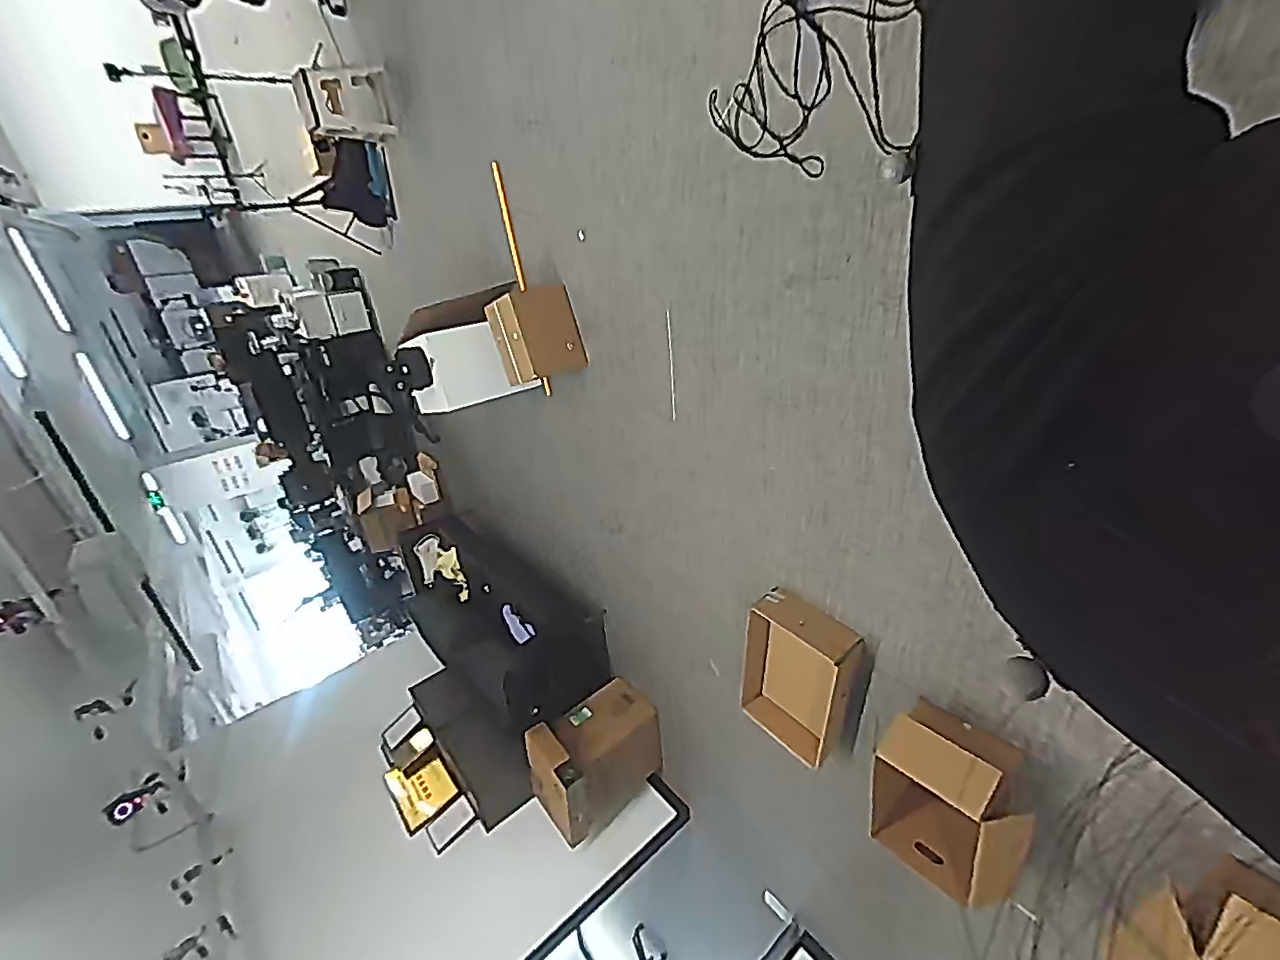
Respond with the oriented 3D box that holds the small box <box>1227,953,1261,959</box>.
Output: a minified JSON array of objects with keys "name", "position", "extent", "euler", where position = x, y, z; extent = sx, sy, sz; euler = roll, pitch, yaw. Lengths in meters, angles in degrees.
[{"name":"small box","position":[1.333,1.163,1.146],"extent":[0.179,0.176,0.168],"euler":[30,136,46]}]
